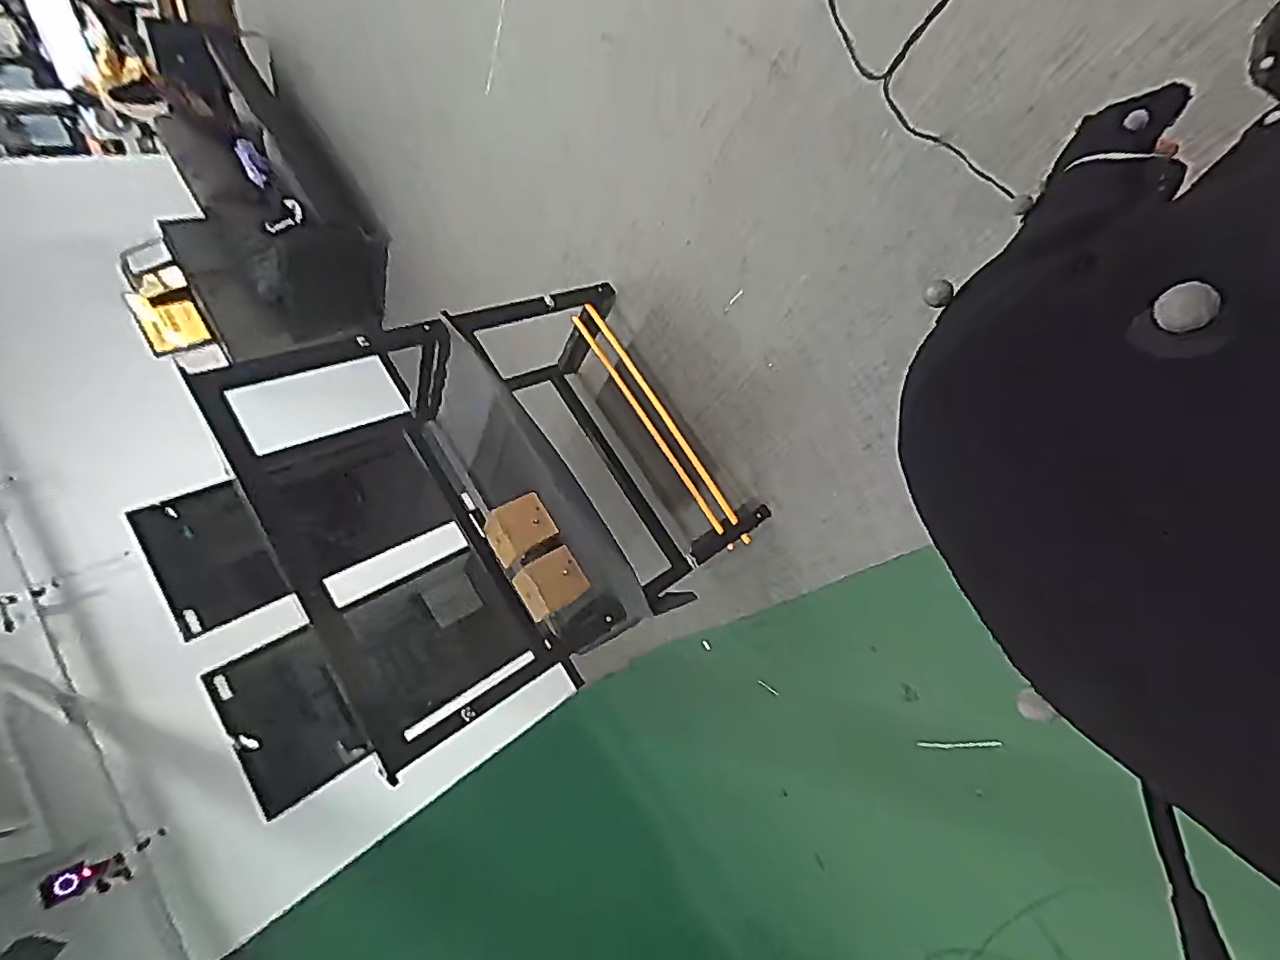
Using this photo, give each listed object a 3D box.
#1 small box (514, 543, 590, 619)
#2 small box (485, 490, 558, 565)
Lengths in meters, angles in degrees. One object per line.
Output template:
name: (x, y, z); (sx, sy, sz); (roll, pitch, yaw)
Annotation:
small box: (-0.292, 0.337, 1.805); (0.168, 0.176, 0.179); (56, 145, 9)
small box: (-0.400, 0.161, 1.835); (0.168, 0.176, 0.179); (56, 145, 9)
